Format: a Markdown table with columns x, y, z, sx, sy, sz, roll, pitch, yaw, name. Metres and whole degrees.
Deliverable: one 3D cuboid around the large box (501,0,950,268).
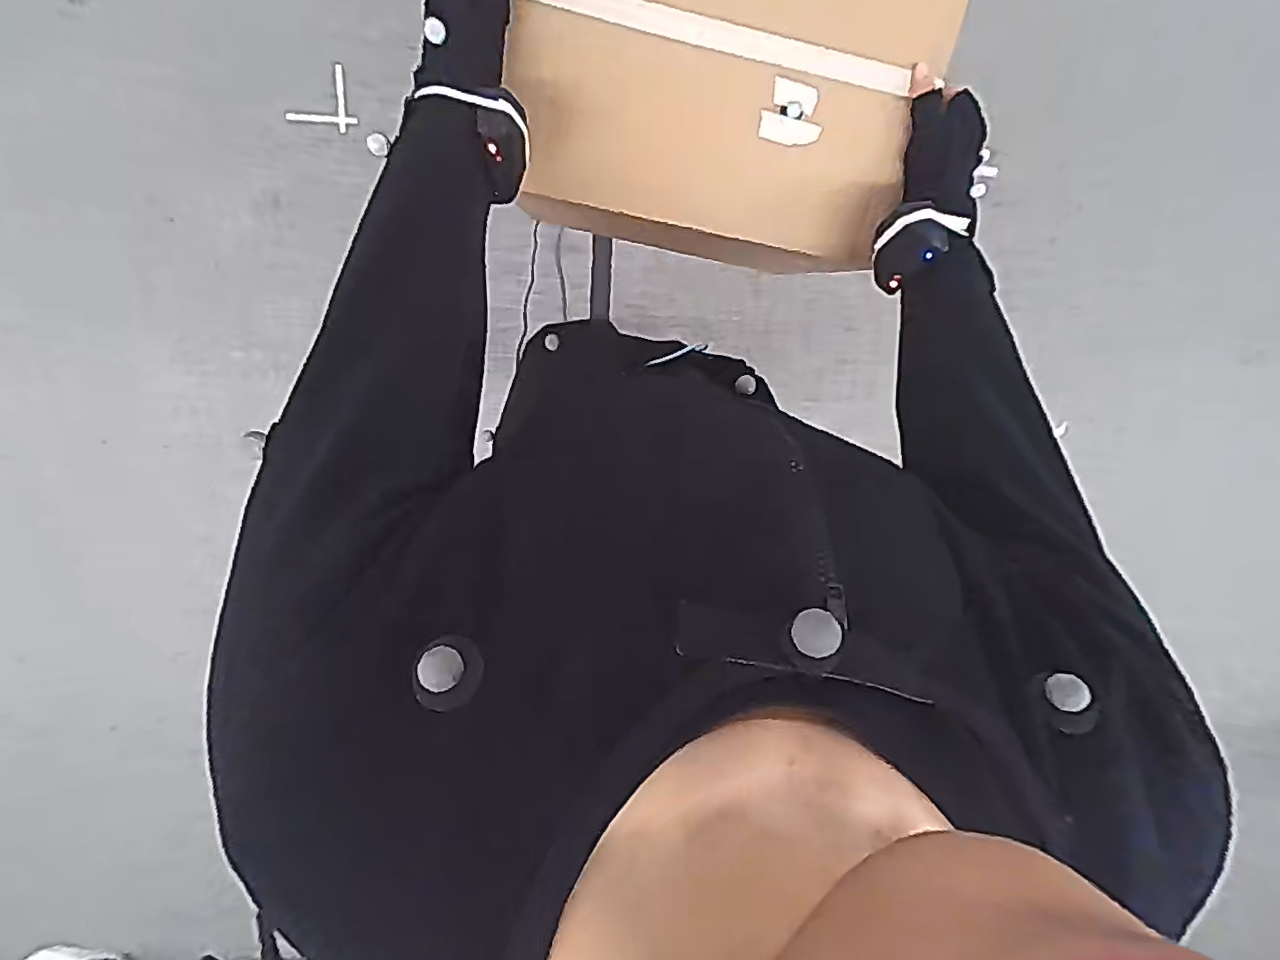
| x | y | z | sx | sy | sz | roll | pitch | yaw | name |
| --- | --- | --- | --- | --- | --- | --- | --- | --- | --- |
| 0.067 | -0.450 | 0.641 | 0.408 | 0.320 | 0.320 | 8 | 110 | -8 | large box |
